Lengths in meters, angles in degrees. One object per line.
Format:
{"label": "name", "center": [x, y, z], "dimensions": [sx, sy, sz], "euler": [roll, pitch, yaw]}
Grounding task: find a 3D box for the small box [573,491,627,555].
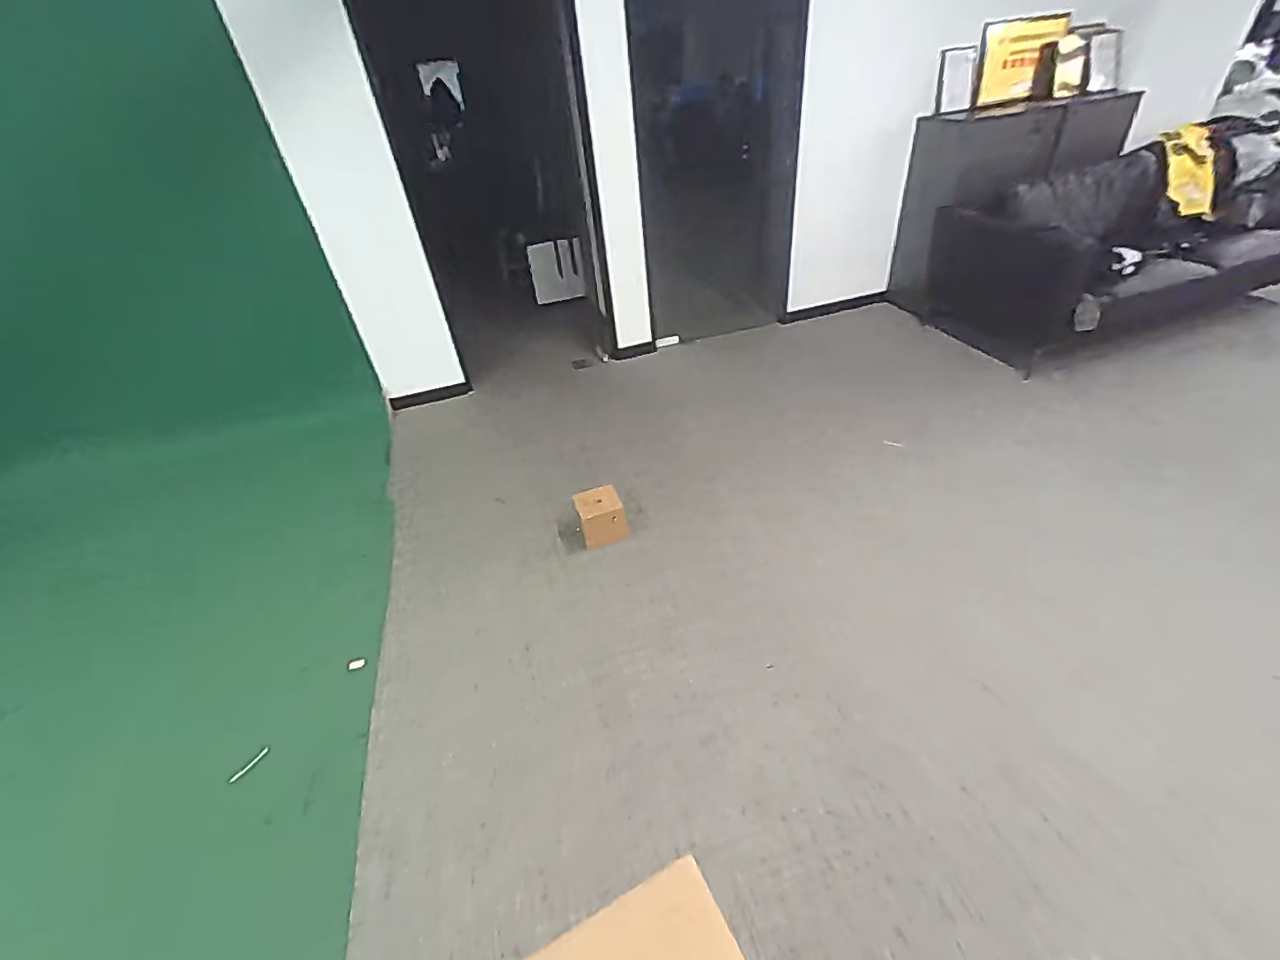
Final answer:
{"label": "small box", "center": [-0.159, 0.174, 2.185], "dimensions": [0.179, 0.176, 0.168], "euler": [-17, 38, -13]}
